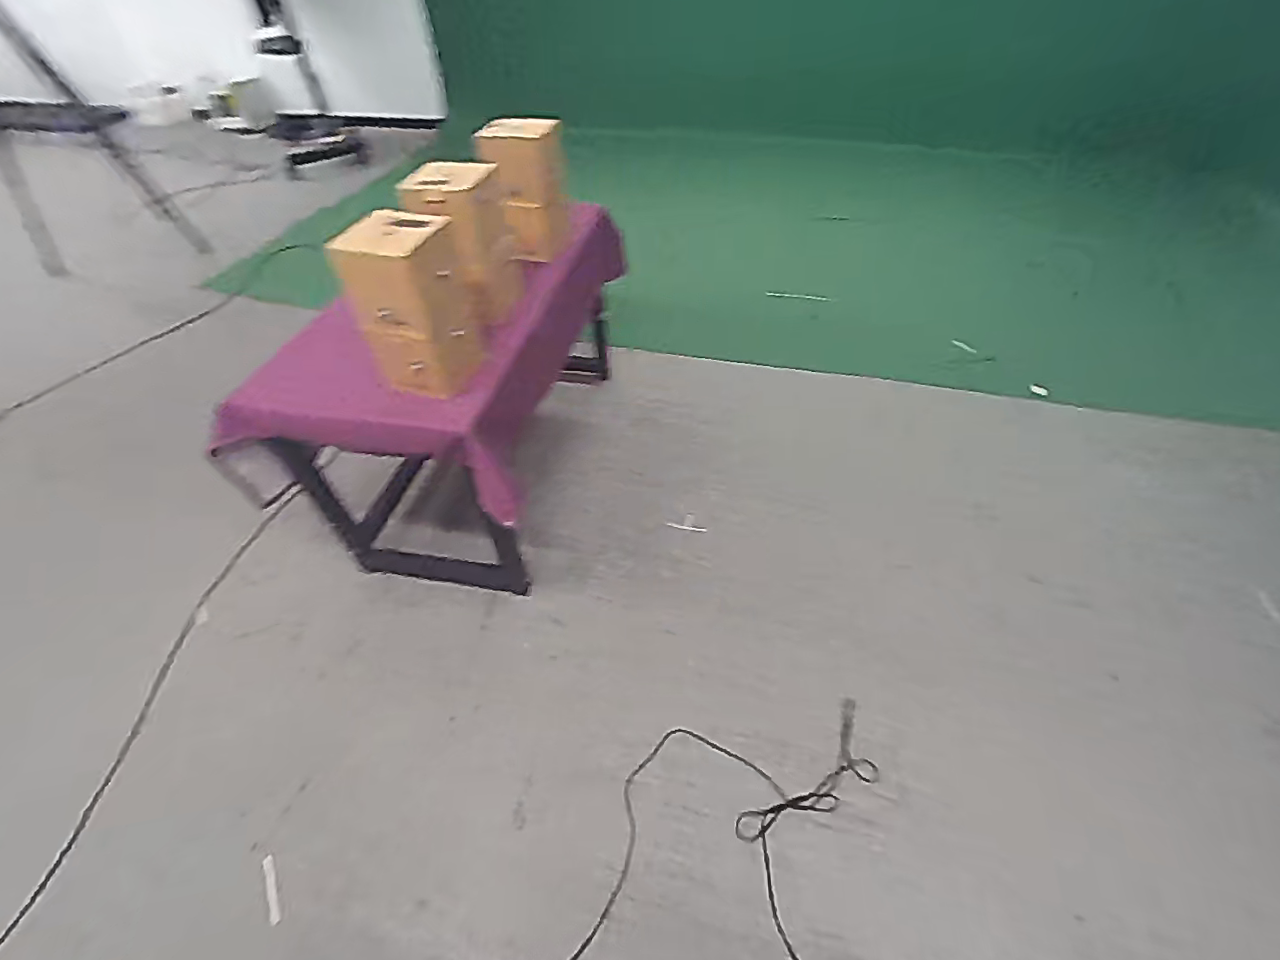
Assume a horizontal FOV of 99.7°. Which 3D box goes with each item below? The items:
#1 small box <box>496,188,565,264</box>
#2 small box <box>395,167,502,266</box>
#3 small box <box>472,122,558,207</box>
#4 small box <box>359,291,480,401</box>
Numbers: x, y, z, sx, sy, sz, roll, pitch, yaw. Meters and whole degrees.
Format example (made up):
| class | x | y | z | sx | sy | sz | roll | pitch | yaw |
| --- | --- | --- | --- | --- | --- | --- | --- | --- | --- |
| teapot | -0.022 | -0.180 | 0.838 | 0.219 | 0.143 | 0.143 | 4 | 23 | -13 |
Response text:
| class | x | y | z | sx | sy | sz | roll | pitch | yaw |
| --- | --- | --- | --- | --- | --- | --- | --- | --- | --- |
| small box | -0.341 | -0.783 | 1.661 | 0.168 | 0.176 | 0.179 | 12 | 49 | 13 |
| small box | -0.448 | -0.635 | 1.304 | 0.168 | 0.176 | 0.179 | 7 | 47 | 9 |
| small box | -0.346 | -0.897 | 1.543 | 0.179 | 0.176 | 0.168 | 9 | 48 | 10 |
| small box | -0.485 | -0.302 | 1.226 | 0.168 | 0.176 | 0.179 | 13 | 49 | 13 |
